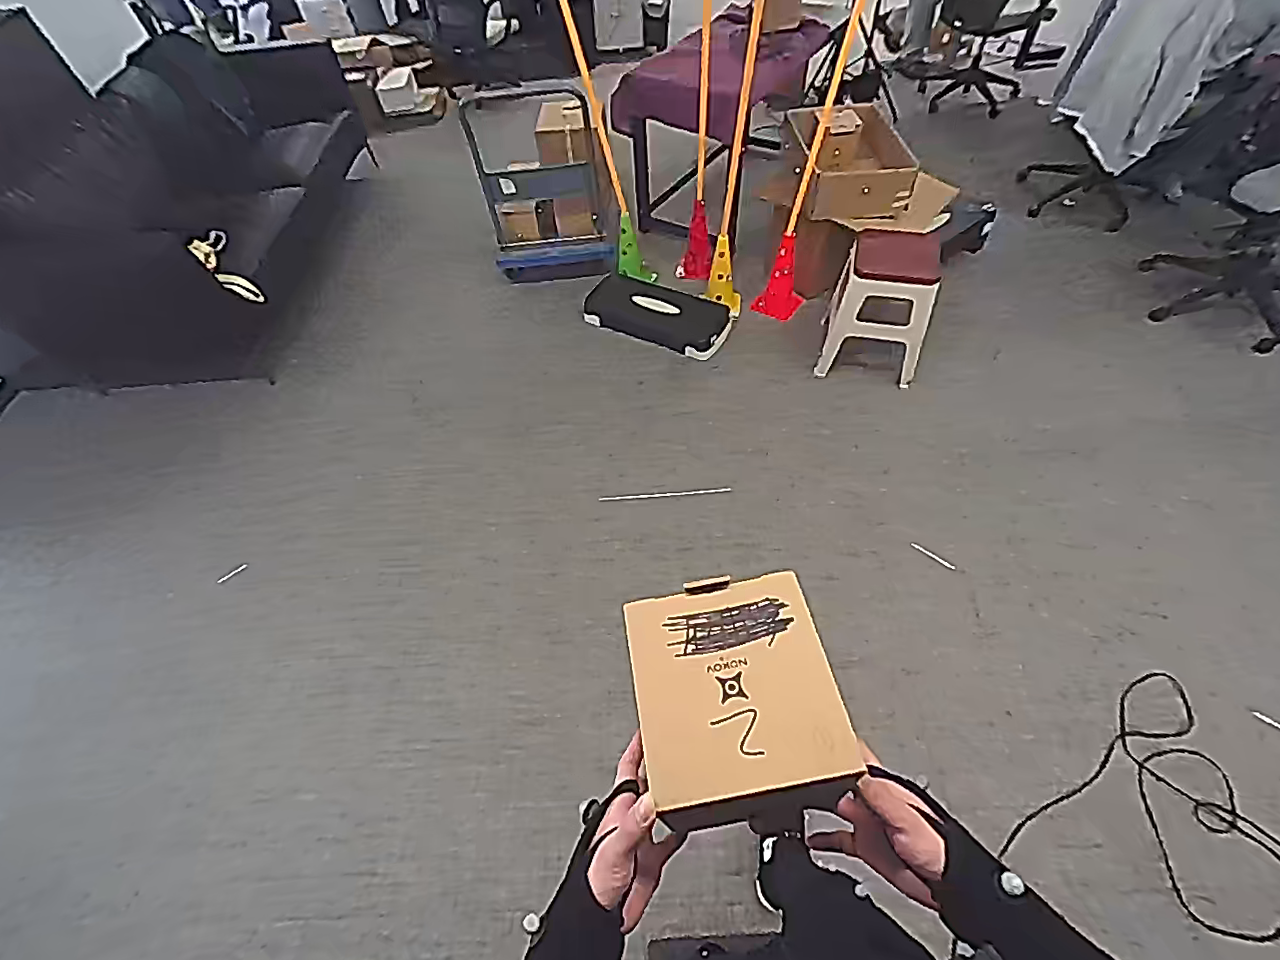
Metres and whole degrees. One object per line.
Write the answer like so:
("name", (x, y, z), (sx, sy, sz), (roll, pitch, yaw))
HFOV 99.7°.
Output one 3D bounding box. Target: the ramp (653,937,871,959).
("ramp", (0.282, 1.398, 0.871), (0.509, 0.206, 0.991), (-7, 53, 2))
